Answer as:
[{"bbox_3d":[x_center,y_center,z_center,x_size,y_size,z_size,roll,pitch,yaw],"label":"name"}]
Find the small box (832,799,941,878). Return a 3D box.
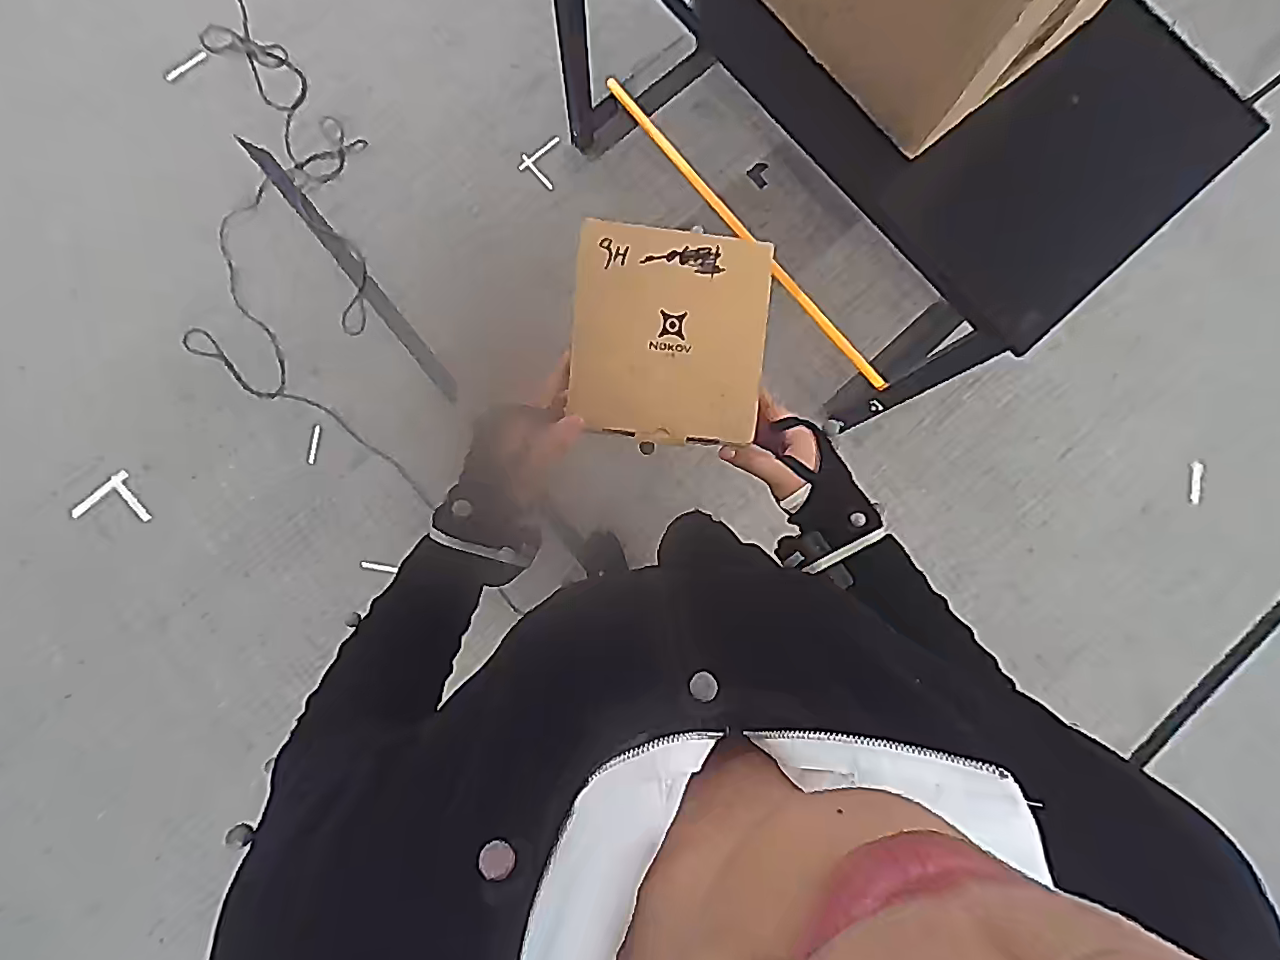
[{"bbox_3d":[0.622,0.958,1.367,0.179,0.176,0.168,-37,86,-4],"label":"small box"}]

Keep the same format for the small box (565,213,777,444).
[{"bbox_3d":[0.020,-0.134,0.536,0.168,0.176,0.179,5,96,-6],"label":"small box"}]

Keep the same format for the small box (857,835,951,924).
[{"bbox_3d":[0.625,0.950,1.203,0.168,0.176,0.179,-37,86,-5],"label":"small box"}]

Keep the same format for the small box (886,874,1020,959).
[{"bbox_3d":[0.621,0.923,1.042,0.168,0.176,0.179,-37,85,-6],"label":"small box"}]
